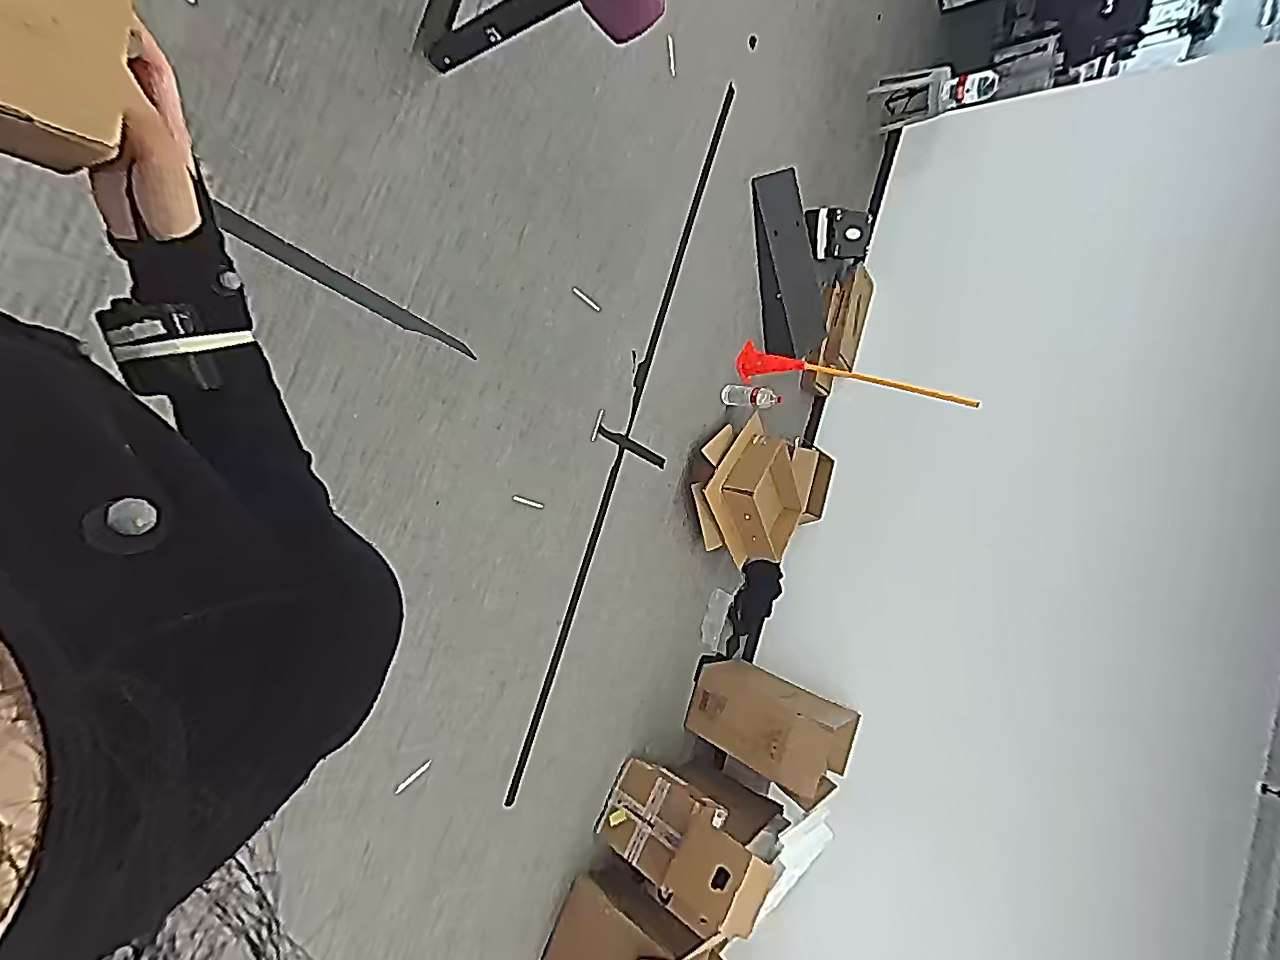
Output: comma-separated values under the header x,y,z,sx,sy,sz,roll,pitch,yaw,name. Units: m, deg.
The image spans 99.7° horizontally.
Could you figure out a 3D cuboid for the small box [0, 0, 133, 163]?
x,y,z,sx,sy,sz,roll,pitch,yaw,name
-0.368,-0.278,0.259,0.168,0.176,0.179,1,105,-53,small box
